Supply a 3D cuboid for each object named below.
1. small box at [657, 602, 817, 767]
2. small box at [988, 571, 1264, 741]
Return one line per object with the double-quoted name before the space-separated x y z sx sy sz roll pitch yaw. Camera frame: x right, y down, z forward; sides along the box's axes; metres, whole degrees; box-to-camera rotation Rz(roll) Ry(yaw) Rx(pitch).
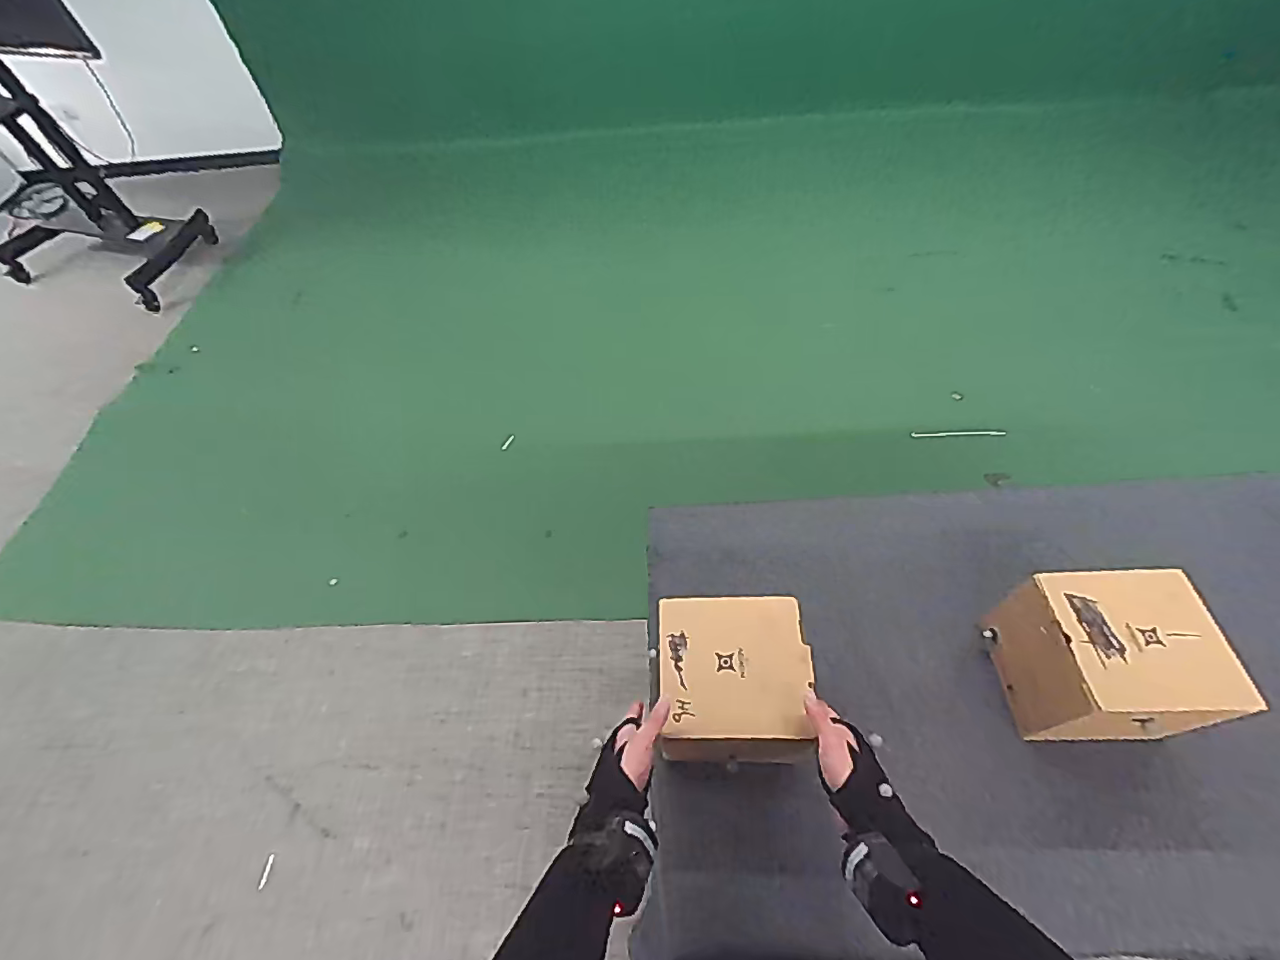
"small box" 0.111 0.266 0.698 0.179 0.176 0.168 -1 55 3
"small box" 0.576 0.227 0.682 0.179 0.176 0.168 -2 55 3
